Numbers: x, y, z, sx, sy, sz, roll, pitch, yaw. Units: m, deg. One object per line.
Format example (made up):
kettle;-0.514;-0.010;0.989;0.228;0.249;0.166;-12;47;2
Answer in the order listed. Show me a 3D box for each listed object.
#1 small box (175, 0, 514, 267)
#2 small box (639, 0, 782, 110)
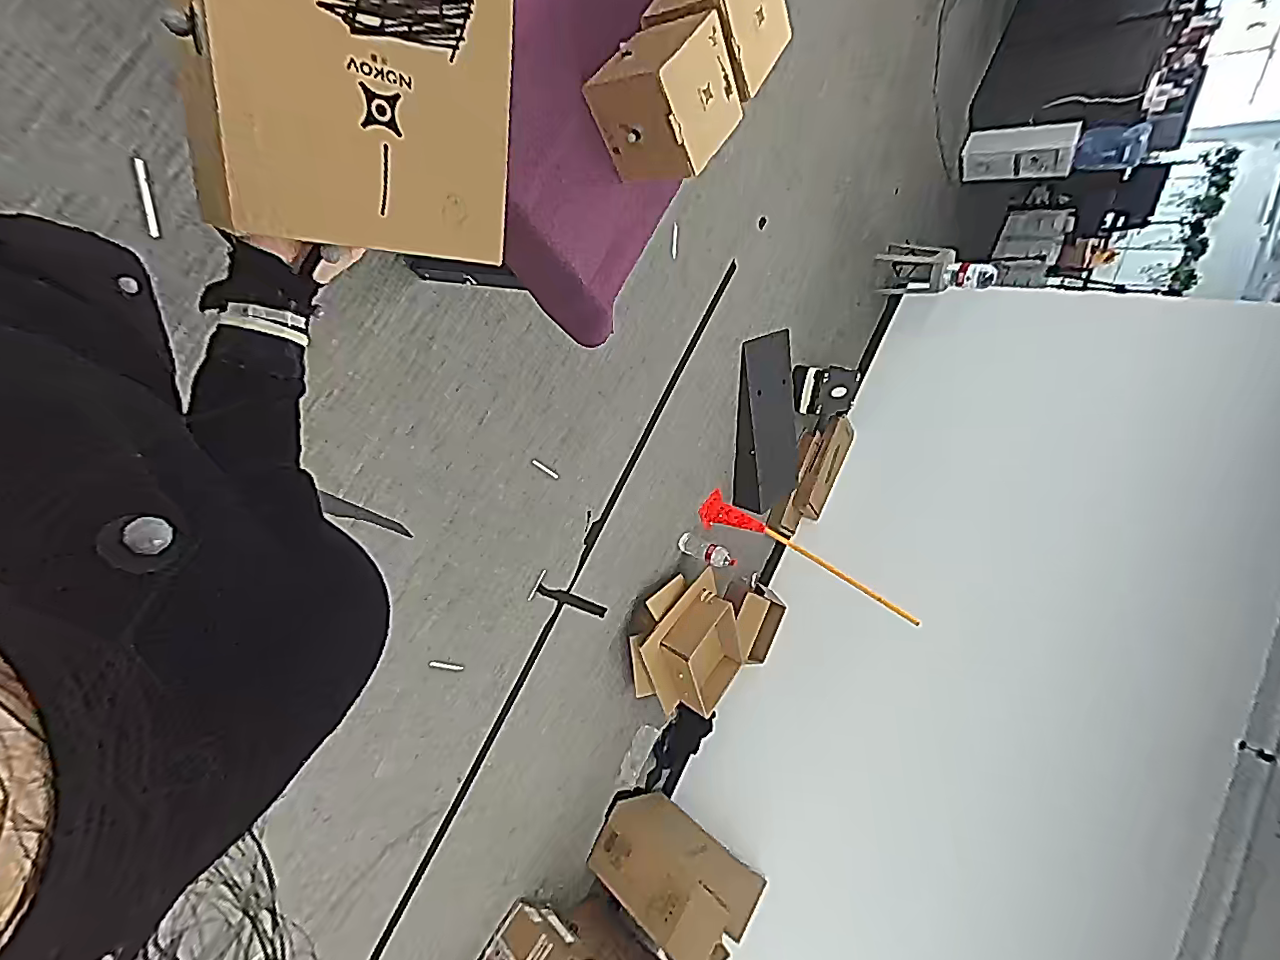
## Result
small box;-0.207;-0.260;0.382;0.168;0.176;0.179;-11;120;-41
small box;0.126;-0.799;0.960;0.179;0.176;0.168;-61;143;-13
